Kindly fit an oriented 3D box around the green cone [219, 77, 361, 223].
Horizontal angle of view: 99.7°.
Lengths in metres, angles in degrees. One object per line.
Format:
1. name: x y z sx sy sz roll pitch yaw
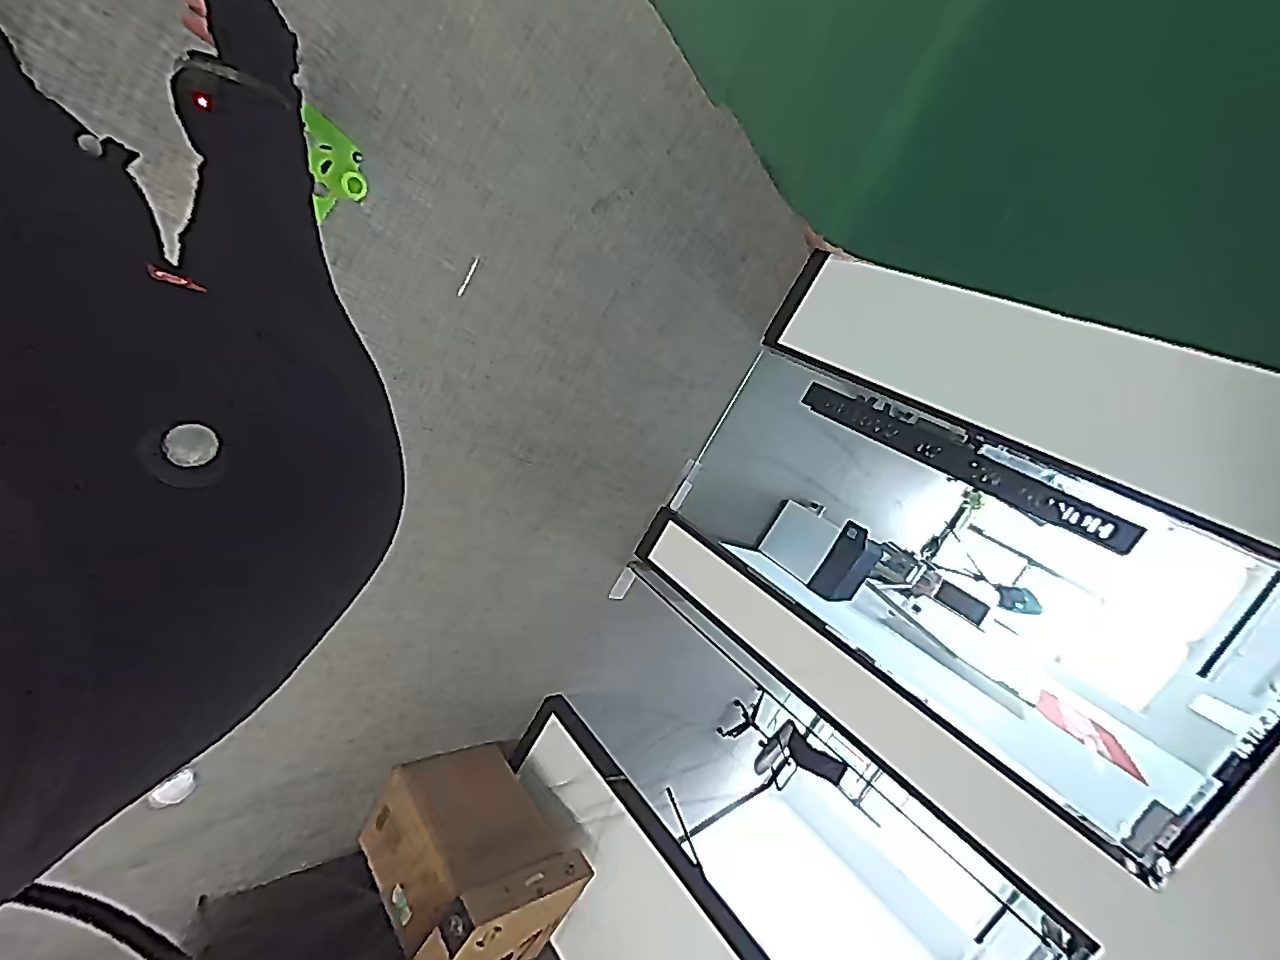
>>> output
1. green cone: -0.608 -0.591 1.017 0.202 0.368 0.200 -56 144 3
